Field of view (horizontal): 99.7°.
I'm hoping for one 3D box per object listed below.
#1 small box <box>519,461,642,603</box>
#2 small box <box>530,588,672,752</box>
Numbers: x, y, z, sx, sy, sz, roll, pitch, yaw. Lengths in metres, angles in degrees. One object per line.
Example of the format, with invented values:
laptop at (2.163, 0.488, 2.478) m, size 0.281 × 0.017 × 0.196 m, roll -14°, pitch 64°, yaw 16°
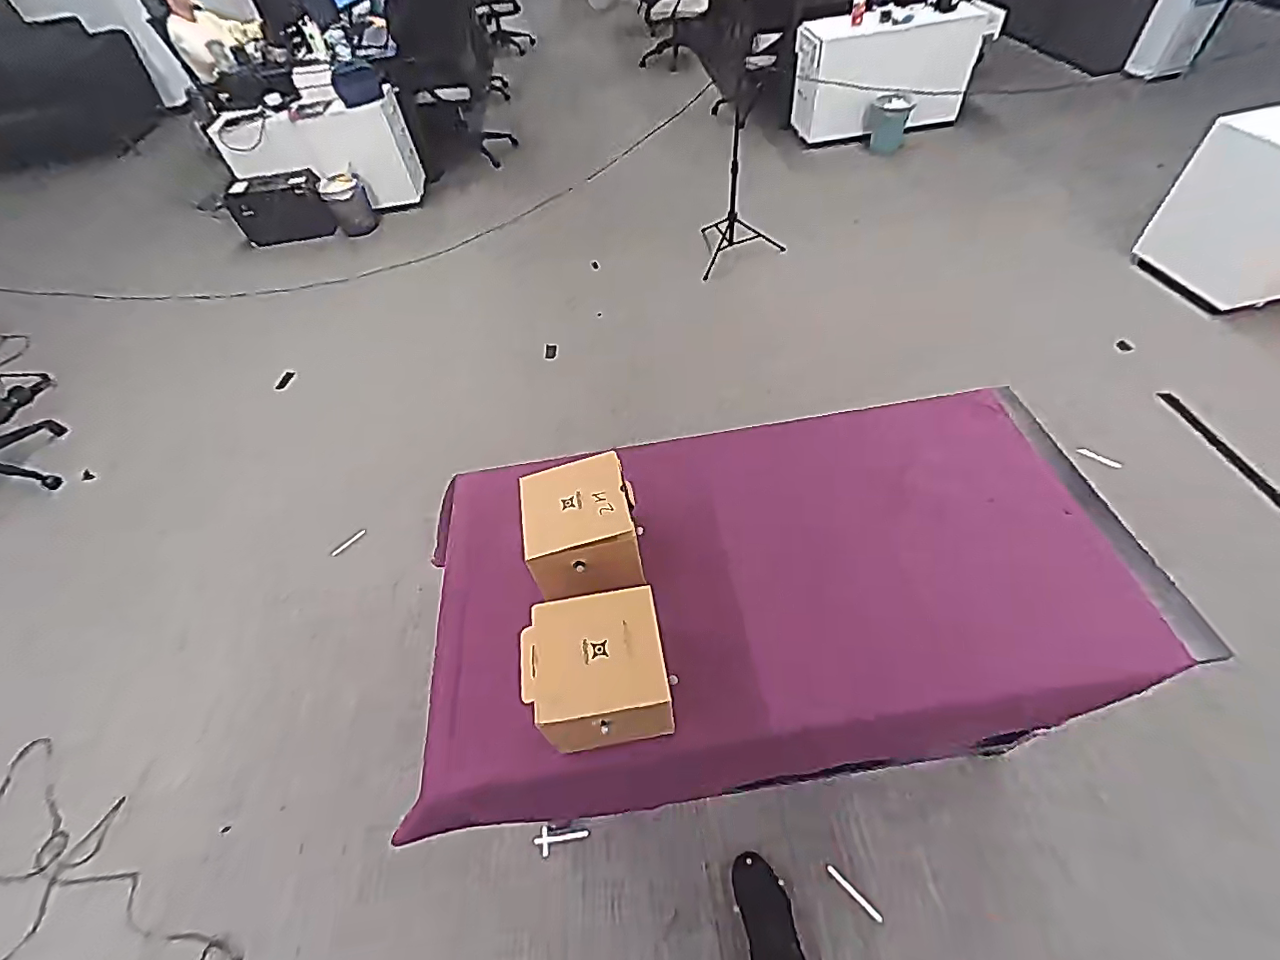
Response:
small box at (-0.100, 0.095, 0.934) m, size 0.179 × 0.176 × 0.168 m, roll -10°, pitch 52°, yaw -3°
small box at (-0.054, 0.279, 0.785) m, size 0.179 × 0.176 × 0.168 m, roll -9°, pitch 52°, yaw -2°
